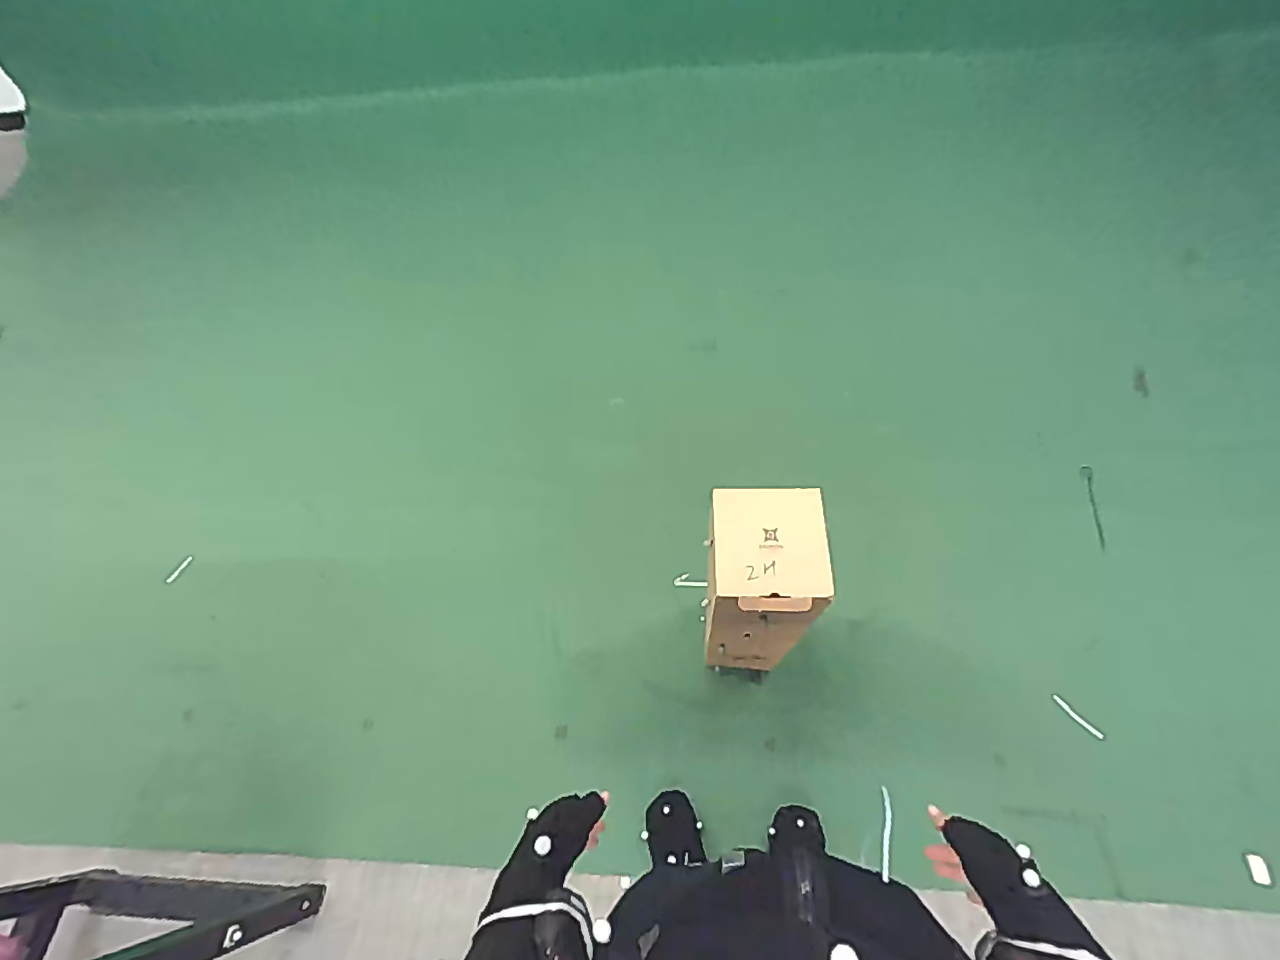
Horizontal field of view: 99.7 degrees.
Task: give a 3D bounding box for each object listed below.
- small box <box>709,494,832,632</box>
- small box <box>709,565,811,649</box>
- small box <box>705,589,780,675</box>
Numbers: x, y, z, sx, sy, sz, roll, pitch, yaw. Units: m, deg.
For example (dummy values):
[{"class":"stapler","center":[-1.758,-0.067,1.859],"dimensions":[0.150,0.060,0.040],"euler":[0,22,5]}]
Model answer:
[{"class":"small box","center":[0.199,0.137,0.875],"dimensions":[0.168,0.176,0.179],"euler":[0,62,5]},{"class":"small box","center":[0.216,0.211,1.021],"dimensions":[0.168,0.176,0.179],"euler":[0,62,5]},{"class":"small box","center":[0.244,0.367,1.307],"dimensions":[0.168,0.176,0.179],"euler":[2,62,6]}]
